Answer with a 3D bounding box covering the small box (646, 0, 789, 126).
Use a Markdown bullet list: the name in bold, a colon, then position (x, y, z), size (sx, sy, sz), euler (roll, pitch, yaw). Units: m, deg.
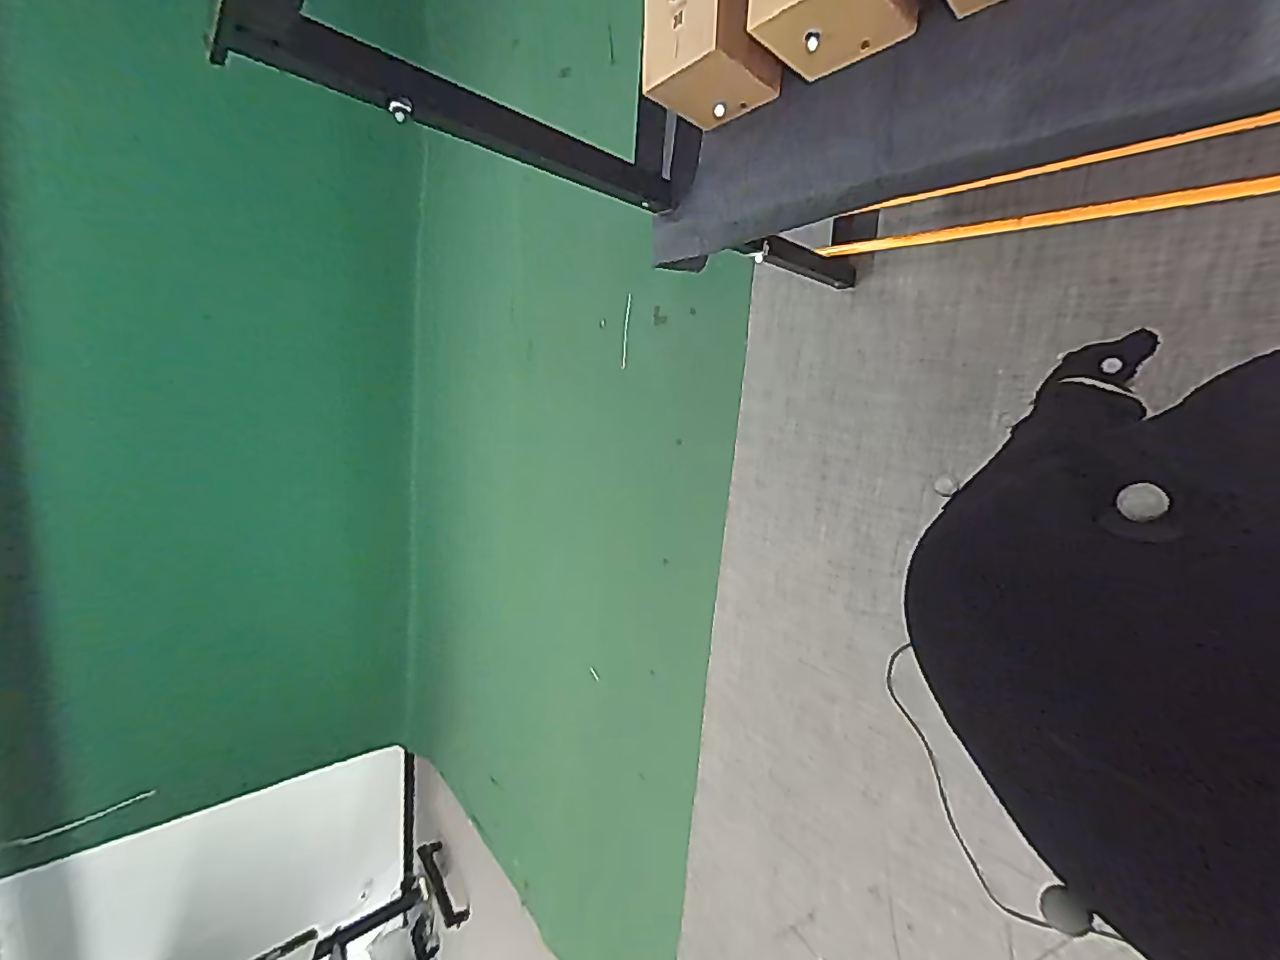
- **small box**: position (0.130, -0.737, 0.900), size (0.168, 0.176, 0.179), euler (10, 100, 48)
